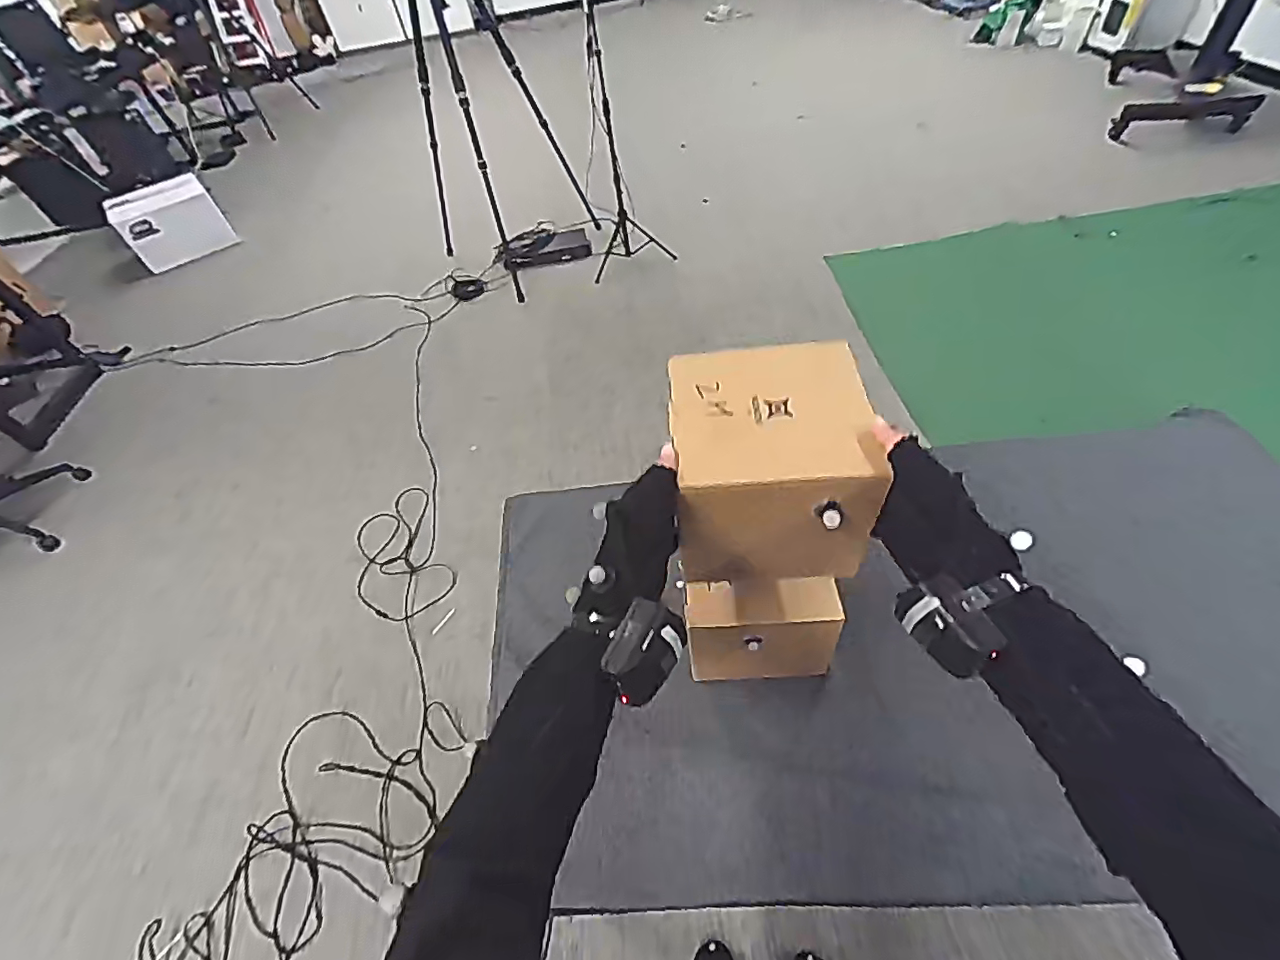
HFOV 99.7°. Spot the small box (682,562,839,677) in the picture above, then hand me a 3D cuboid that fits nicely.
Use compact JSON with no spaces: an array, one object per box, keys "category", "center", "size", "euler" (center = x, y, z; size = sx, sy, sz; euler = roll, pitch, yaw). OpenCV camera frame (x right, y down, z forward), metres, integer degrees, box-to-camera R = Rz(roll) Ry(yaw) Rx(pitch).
[{"category":"small box","center":[0.148,0.154,0.724],"size":[0.179,0.176,0.168],"euler":[-4,50,4]}]

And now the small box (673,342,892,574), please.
[{"category":"small box","center":[0.125,-0.017,0.547],"size":[0.179,0.176,0.168],"euler":[-3,51,5]}]
